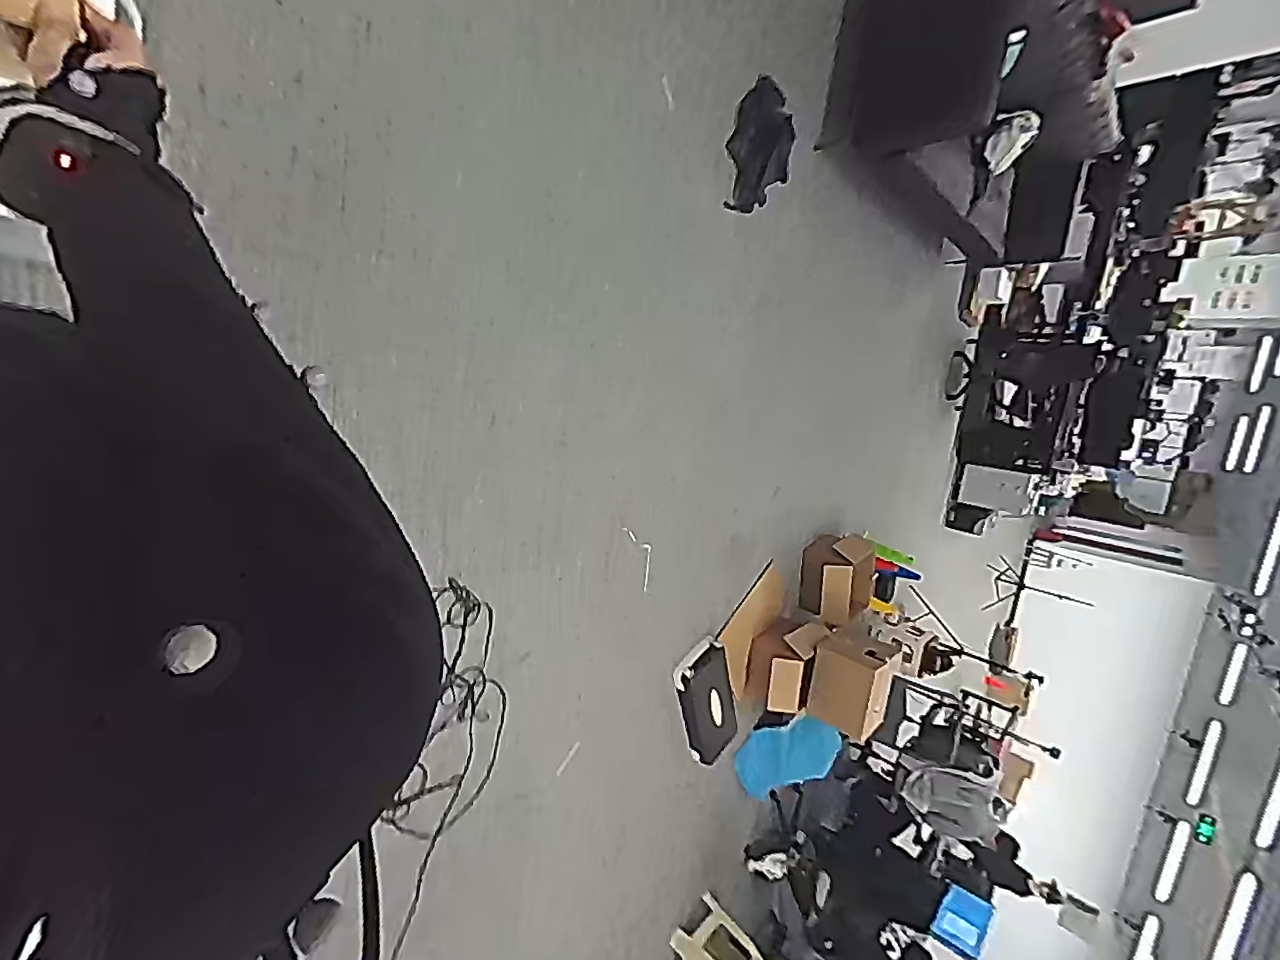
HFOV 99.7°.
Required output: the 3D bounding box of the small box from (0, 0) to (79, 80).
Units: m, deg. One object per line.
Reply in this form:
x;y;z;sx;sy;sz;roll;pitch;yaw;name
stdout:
-0.520;-0.422;0.378;0.179;0.176;0.168;-3;105;-47;small box
